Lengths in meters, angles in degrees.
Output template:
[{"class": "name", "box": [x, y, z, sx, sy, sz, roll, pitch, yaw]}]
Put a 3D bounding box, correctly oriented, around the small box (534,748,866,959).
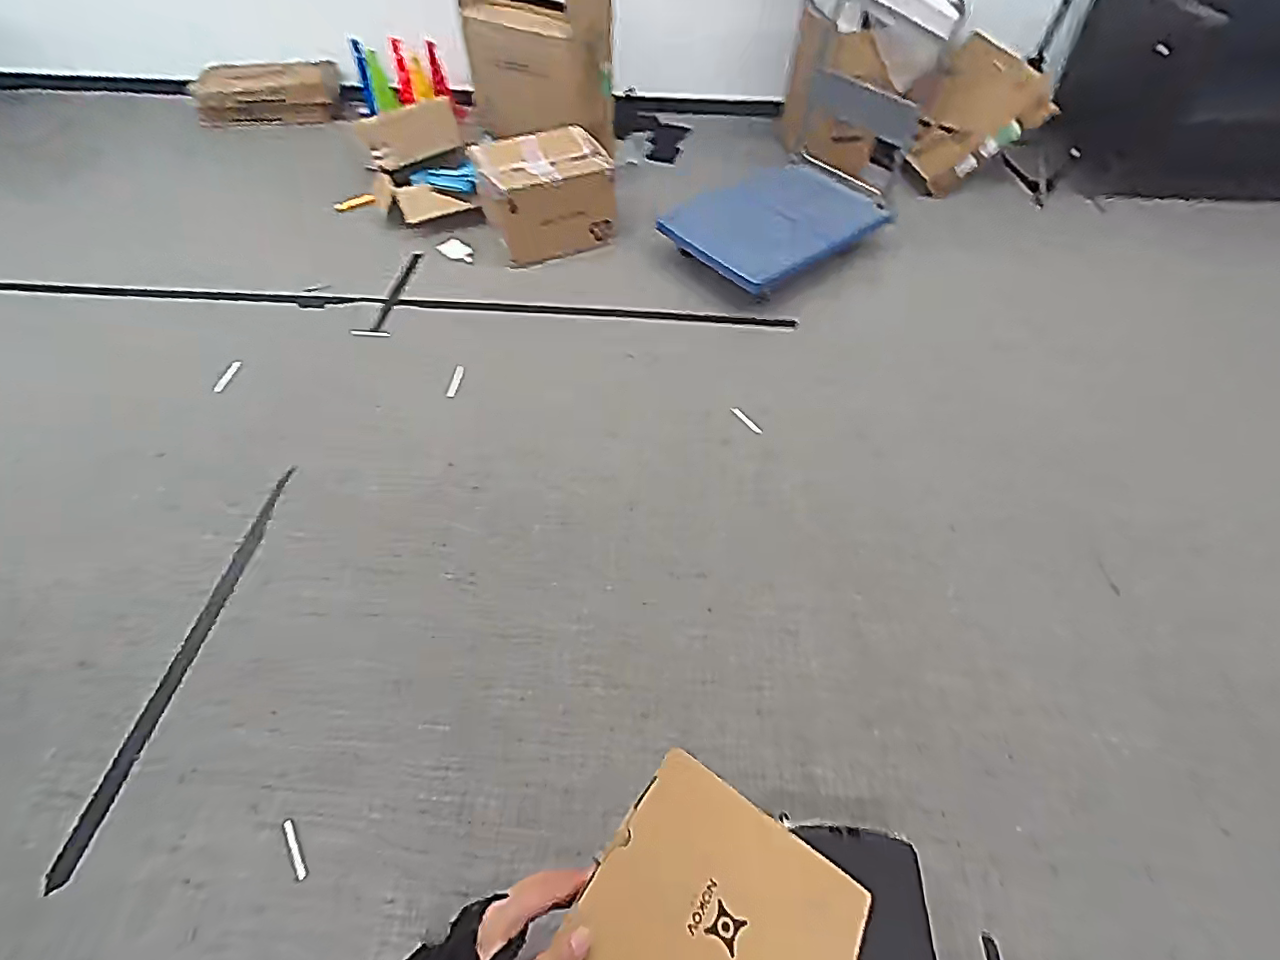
[{"class": "small box", "box": [0.036, 0.355, 0.412, 0.179, 0.176, 0.168, 29, 41, 19]}]
